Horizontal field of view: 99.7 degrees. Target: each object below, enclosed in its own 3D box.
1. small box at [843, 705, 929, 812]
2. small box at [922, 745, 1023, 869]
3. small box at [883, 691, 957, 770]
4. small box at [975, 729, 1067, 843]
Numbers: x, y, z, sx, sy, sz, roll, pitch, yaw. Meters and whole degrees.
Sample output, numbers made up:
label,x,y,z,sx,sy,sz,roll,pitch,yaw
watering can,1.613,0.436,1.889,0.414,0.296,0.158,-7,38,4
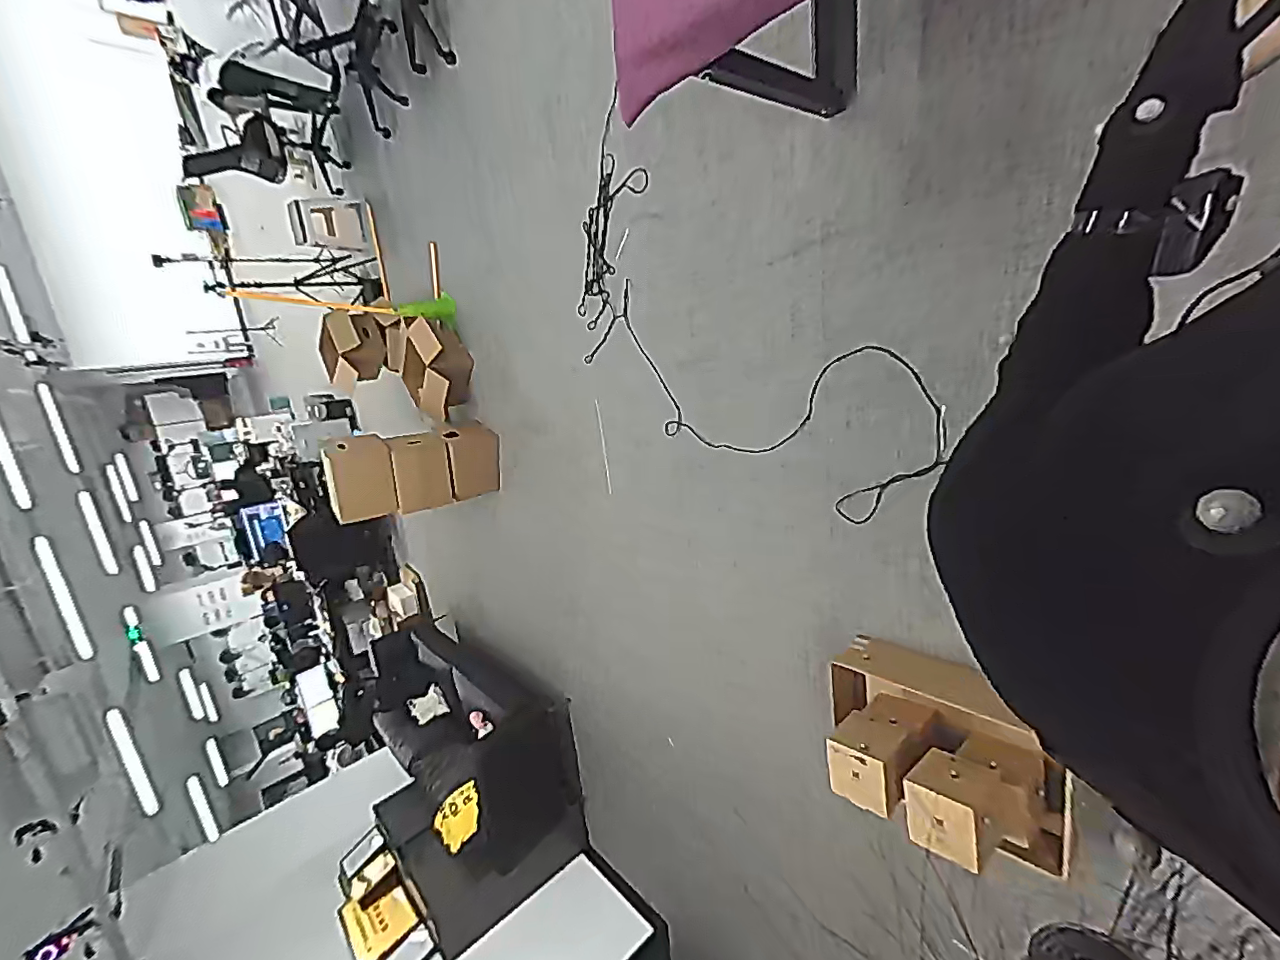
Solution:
label,x,y,z,sx,sy,sz,roll,pitch,yaw
small box,0.698,0.778,1.527,0.168,0.176,0.179,3,107,50
small box,0.839,0.808,1.362,0.168,0.176,0.179,1,103,54
small box,0.830,0.761,1.625,0.179,0.176,0.168,-3,101,52
small box,0.998,0.791,1.424,0.179,0.176,0.168,4,105,53
